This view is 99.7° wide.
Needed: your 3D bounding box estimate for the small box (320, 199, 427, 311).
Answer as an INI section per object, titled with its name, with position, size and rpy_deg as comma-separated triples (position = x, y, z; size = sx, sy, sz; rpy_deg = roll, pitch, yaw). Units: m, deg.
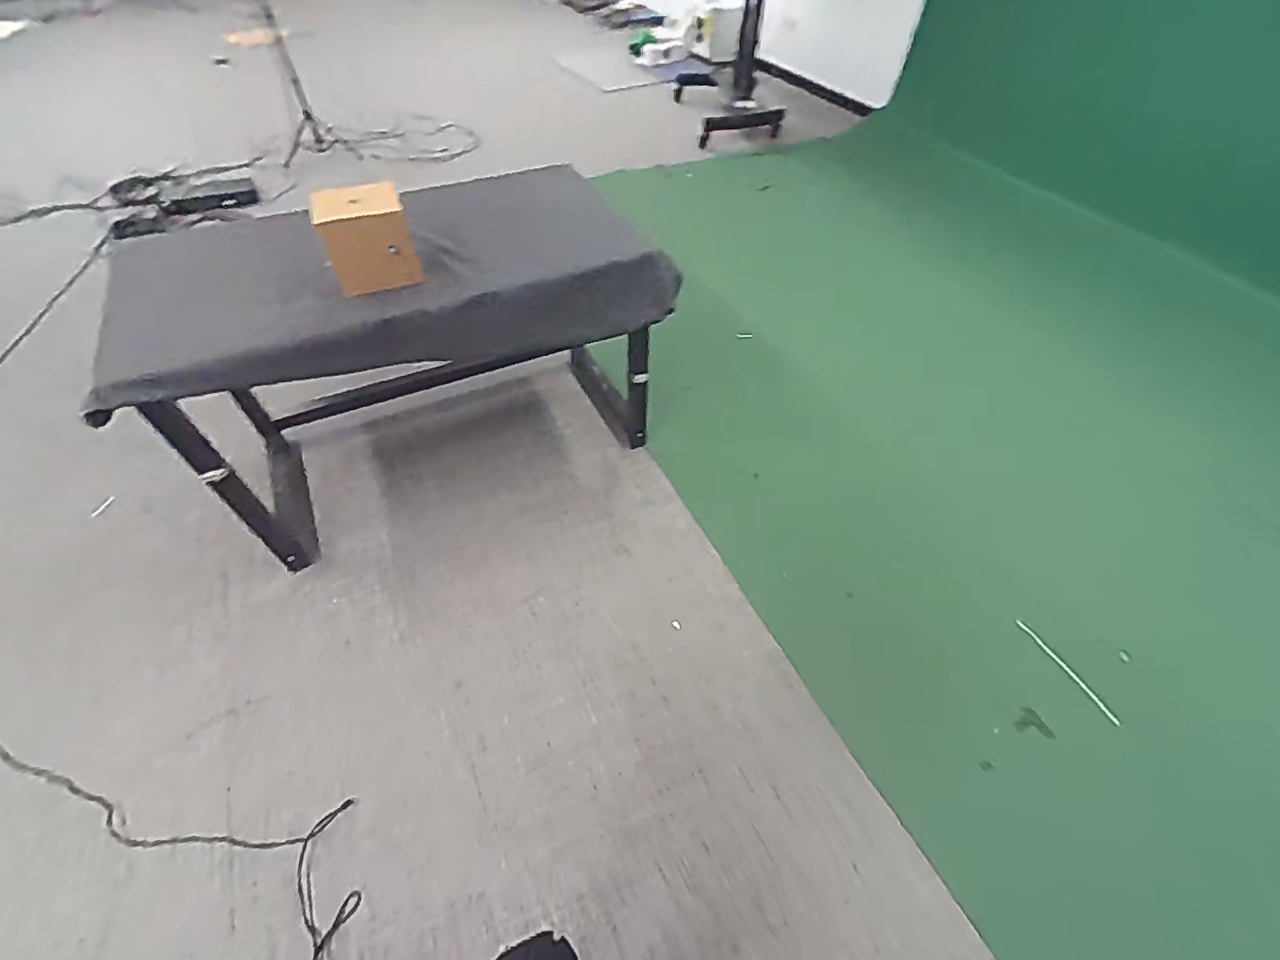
[small box]
position = -0.604, -0.515, 1.242
size = 0.179, 0.176, 0.168
rpy_deg = -19, 51, -15
